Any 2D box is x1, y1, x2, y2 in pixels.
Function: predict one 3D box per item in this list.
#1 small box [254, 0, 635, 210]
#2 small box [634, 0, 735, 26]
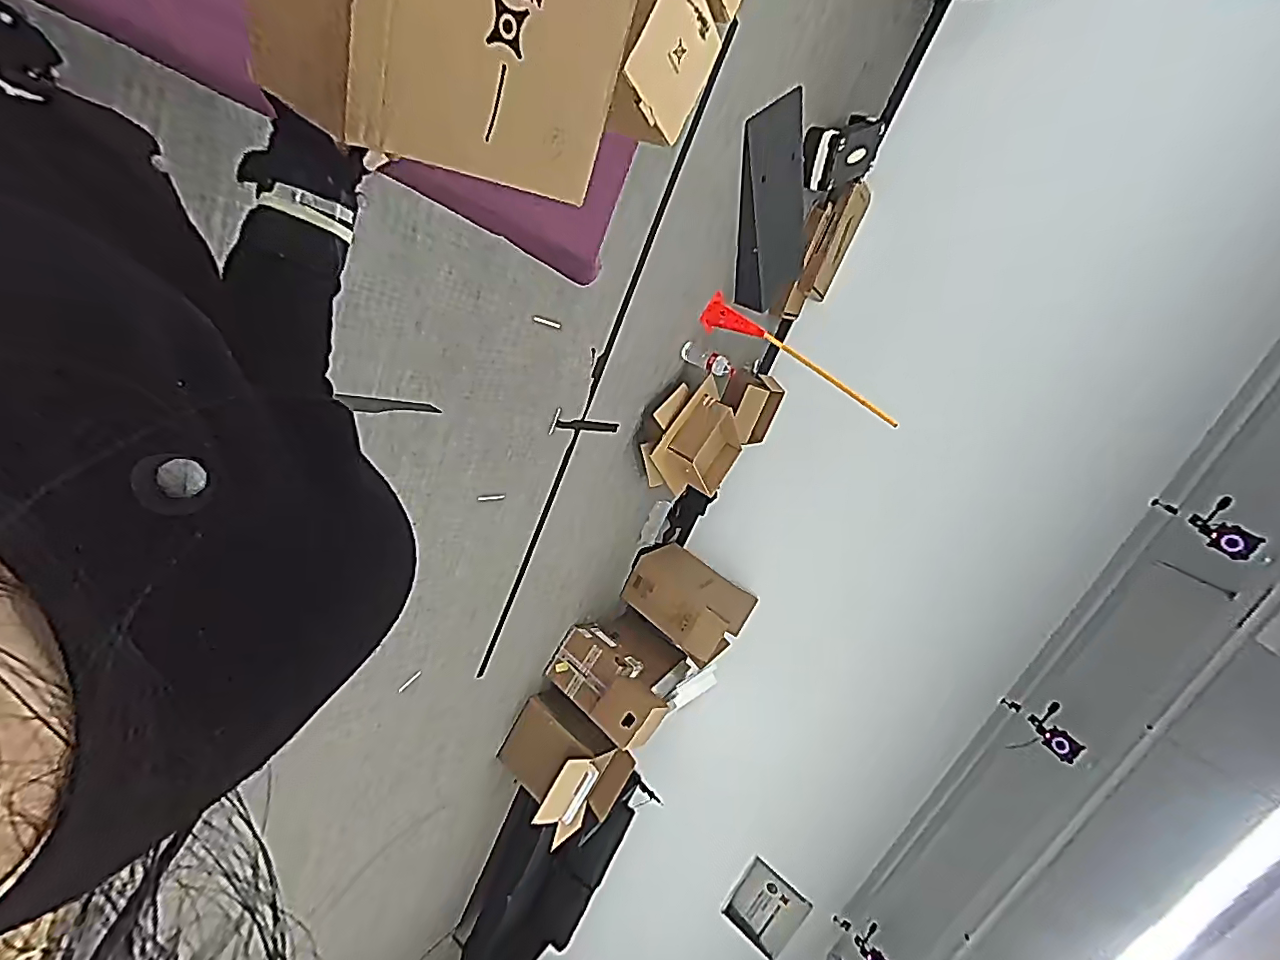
[{"bbox_3d":[-0.127,-0.304,0.345,0.168,0.176,0.179,-13,135,-46],"label":"small box"},{"bbox_3d":[0.063,-0.822,0.788,0.168,0.176,0.179,2,116,-62],"label":"small box"}]
